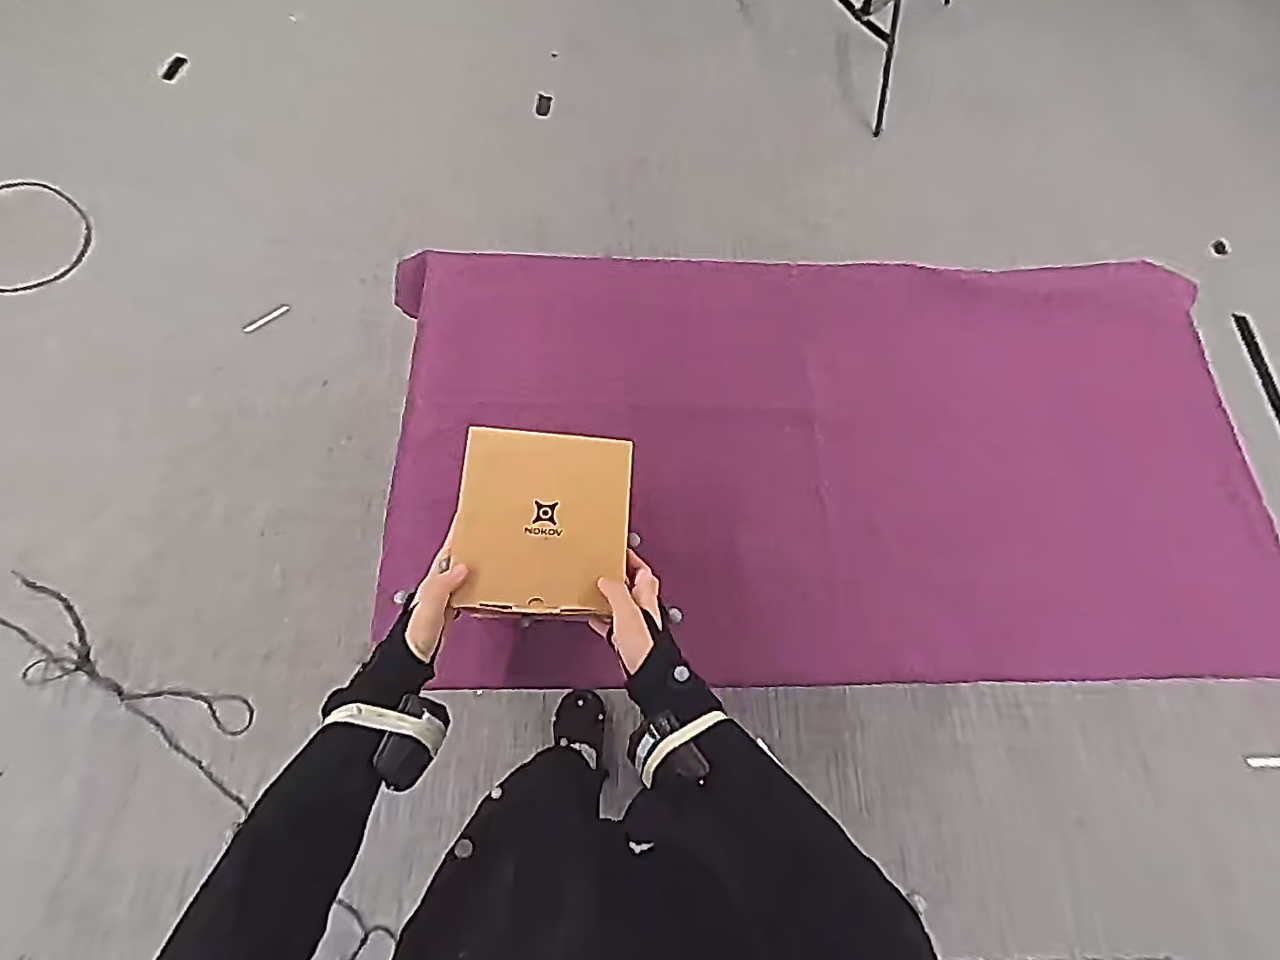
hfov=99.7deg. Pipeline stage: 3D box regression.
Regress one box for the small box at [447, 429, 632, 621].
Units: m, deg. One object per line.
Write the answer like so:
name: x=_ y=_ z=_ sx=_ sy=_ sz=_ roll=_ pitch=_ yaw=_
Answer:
small box: x=-0.107 y=0.061 z=0.605 sx=0.168 sy=0.176 sz=0.179 roll=5 pitch=73 yaw=-9
